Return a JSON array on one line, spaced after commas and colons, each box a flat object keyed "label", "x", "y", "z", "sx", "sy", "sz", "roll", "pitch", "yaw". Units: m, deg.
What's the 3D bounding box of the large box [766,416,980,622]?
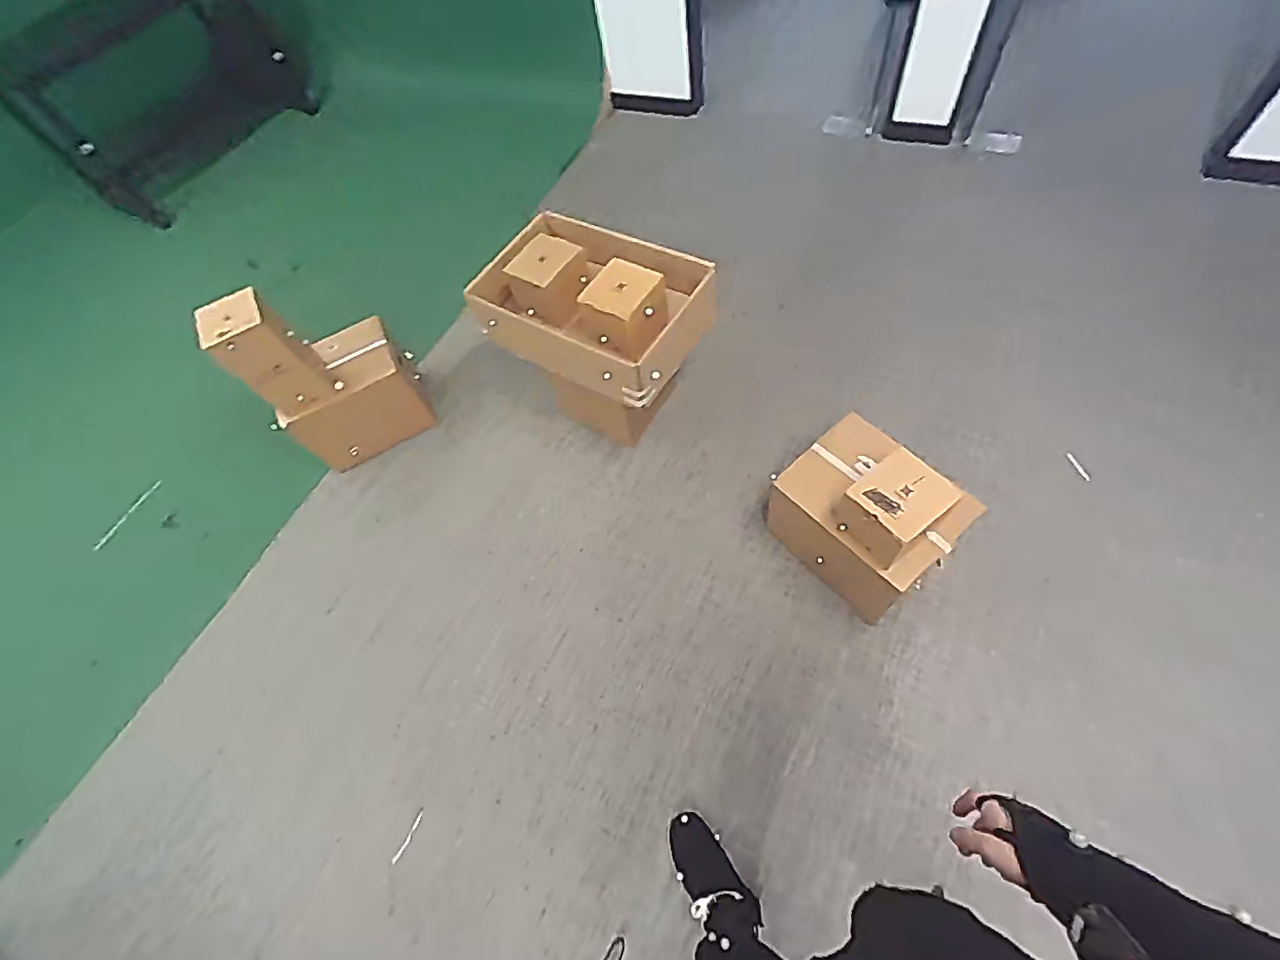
[{"label": "large box", "x": 0.599, "y": 0.111, "z": 1.471, "sx": 0.320, "sy": 0.320, "sz": 0.408, "roll": -39, "pitch": 62, "yaw": -13}]

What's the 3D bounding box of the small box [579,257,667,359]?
[{"label": "small box", "x": -0.038, "y": -0.468, "z": 1.483, "sx": 0.168, "sy": 0.176, "sz": 0.179, "roll": 28, "pitch": 71, "yaw": 22}]

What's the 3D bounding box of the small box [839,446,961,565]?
[{"label": "small box", "x": 0.571, "y": 0.064, "z": 1.218, "sx": 0.179, "sy": 0.176, "sz": 0.168, "roll": -36, "pitch": 62, "yaw": -10}]

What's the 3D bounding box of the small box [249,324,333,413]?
[{"label": "small box", "x": -1.103, "y": -0.346, "z": 1.699, "sx": 0.168, "sy": 0.176, "sz": 0.179, "roll": -29, "pitch": 62, "yaw": -7}]

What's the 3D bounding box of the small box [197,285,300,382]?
[{"label": "small box", "x": -1.119, "y": -0.416, "z": 1.551, "sx": 0.168, "sy": 0.176, "sz": 0.179, "roll": -29, "pitch": 61, "yaw": -8}]
